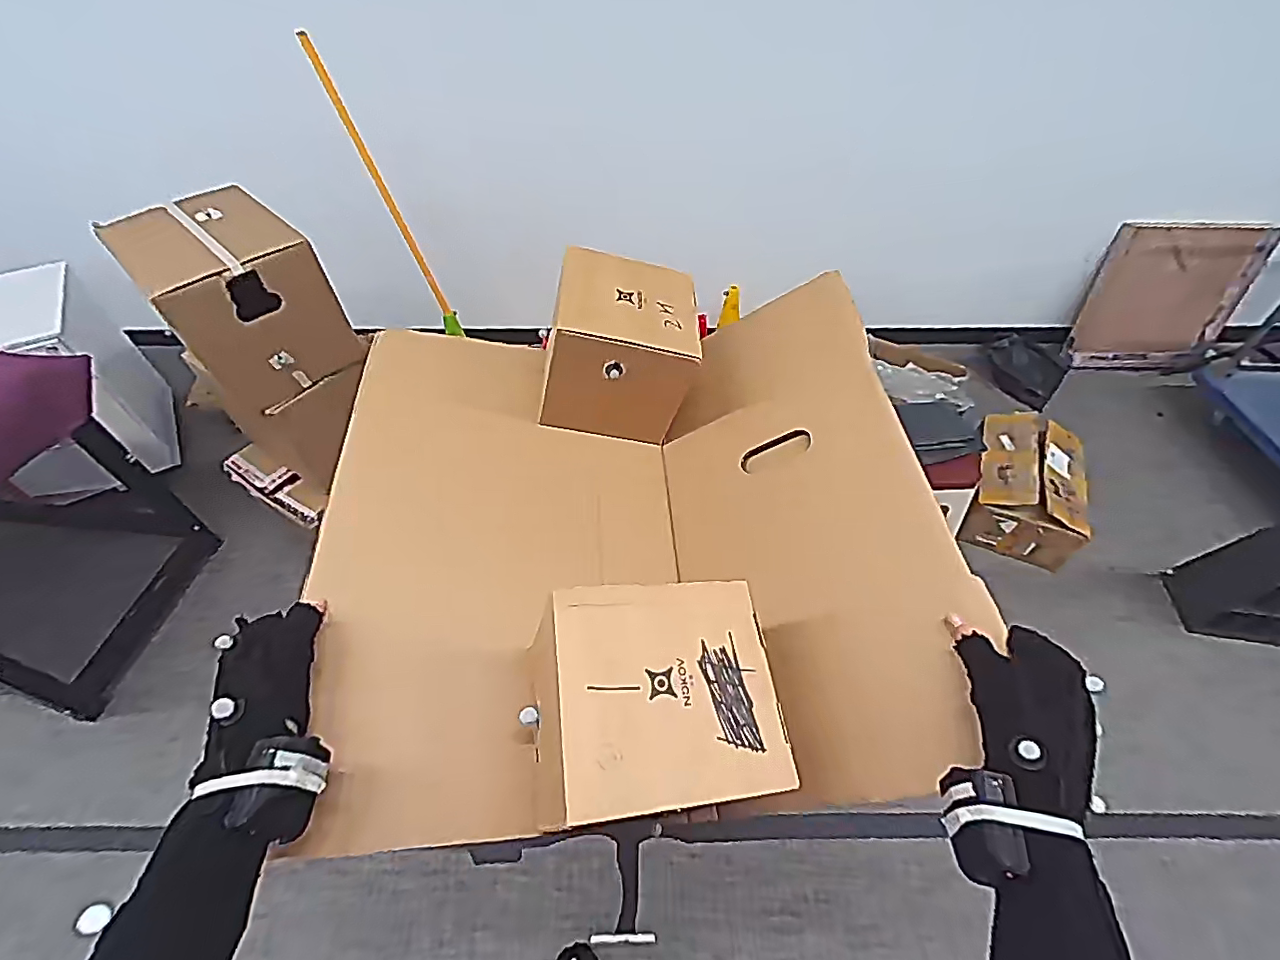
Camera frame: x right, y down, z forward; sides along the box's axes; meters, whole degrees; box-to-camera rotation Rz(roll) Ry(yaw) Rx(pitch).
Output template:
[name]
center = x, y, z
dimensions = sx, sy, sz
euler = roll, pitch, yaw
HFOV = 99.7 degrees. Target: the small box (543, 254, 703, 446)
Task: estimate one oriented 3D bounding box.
[small box]
center = -0.029, -0.165, 0.726
dimensions = 0.179, 0.176, 0.168
euler = 10, 54, -13
